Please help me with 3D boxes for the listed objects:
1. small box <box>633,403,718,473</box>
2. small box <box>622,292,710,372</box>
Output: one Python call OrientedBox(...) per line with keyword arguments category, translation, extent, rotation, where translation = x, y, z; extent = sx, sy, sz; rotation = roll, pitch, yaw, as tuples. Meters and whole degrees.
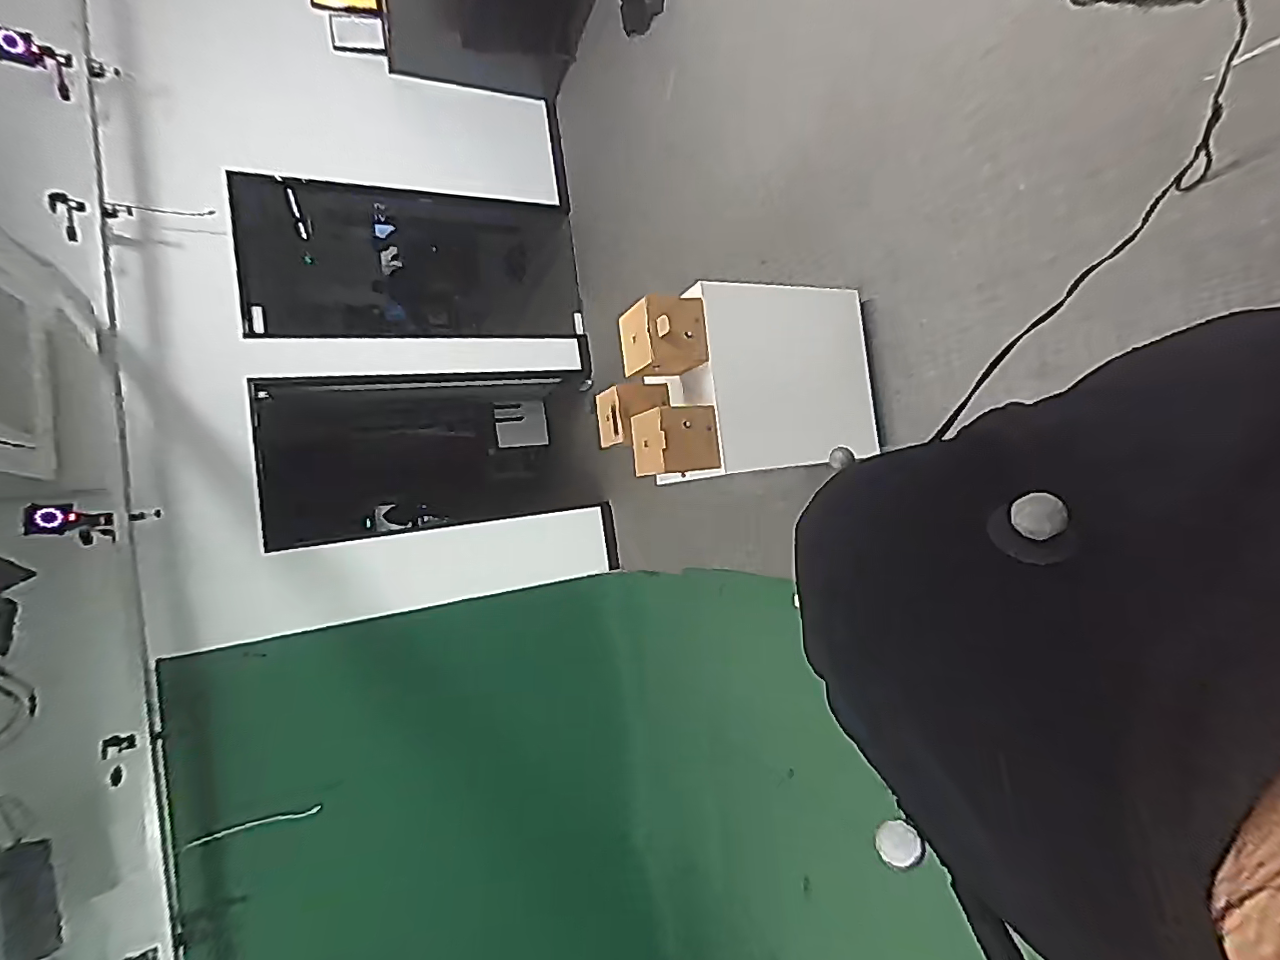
OrientedBox(category="small box", translation=(0.098, -0.109, 1.428), extent=(0.179, 0.176, 0.168), rotation=(173, 93, -67))
OrientedBox(category="small box", translation=(0.066, -0.384, 1.429), extent=(0.179, 0.176, 0.168), rotation=(172, 91, -66))
